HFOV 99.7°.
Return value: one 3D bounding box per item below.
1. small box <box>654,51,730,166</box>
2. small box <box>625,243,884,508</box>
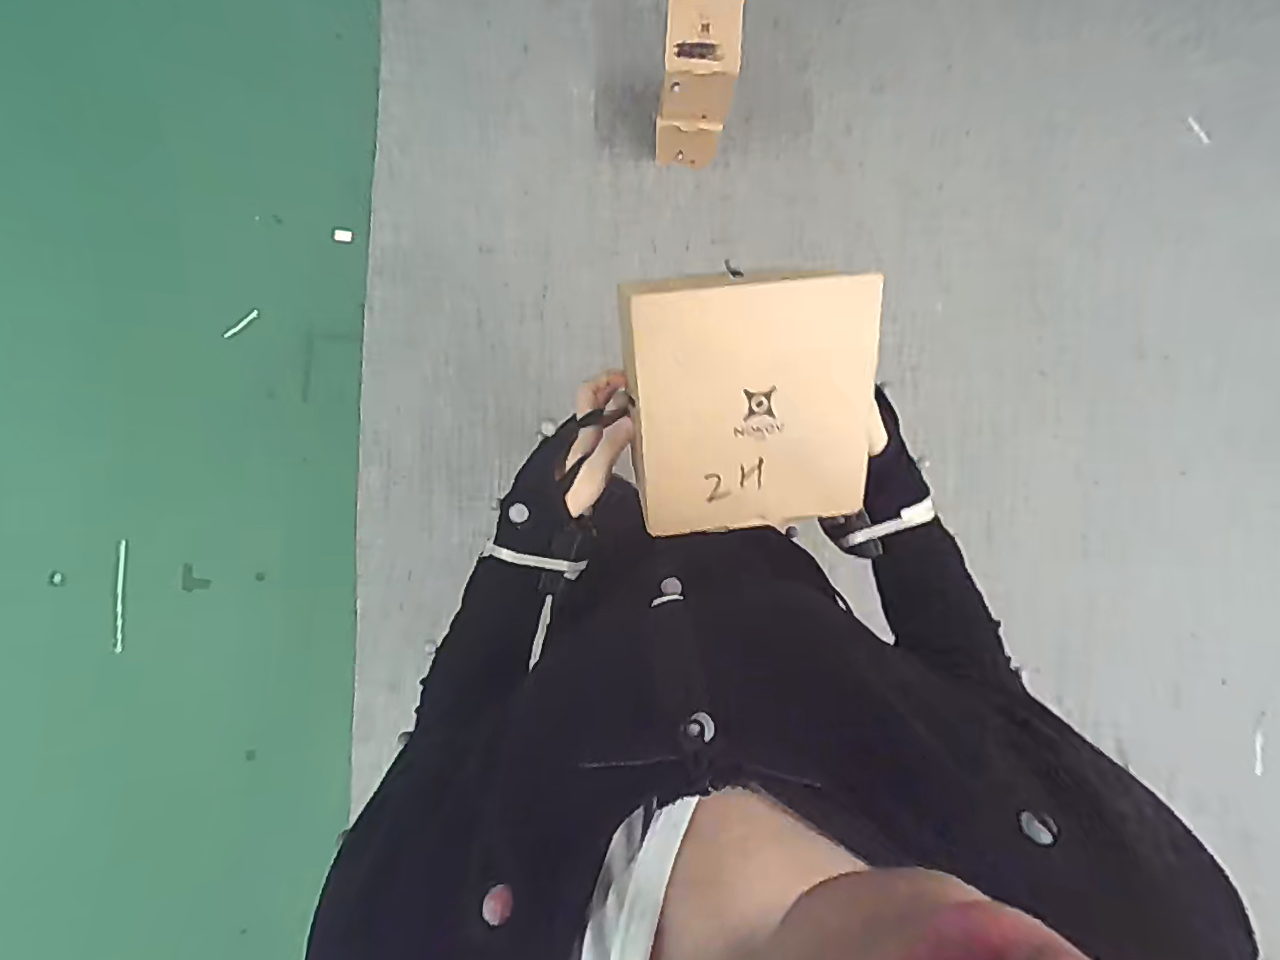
[{"bbox_3d":[0.130,-0.968,1.419,0.168,0.176,0.179,7,91,-1],"label":"small box"},{"bbox_3d":[0.079,-0.097,0.455,0.168,0.176,0.179,-6,114,-3],"label":"small box"}]
